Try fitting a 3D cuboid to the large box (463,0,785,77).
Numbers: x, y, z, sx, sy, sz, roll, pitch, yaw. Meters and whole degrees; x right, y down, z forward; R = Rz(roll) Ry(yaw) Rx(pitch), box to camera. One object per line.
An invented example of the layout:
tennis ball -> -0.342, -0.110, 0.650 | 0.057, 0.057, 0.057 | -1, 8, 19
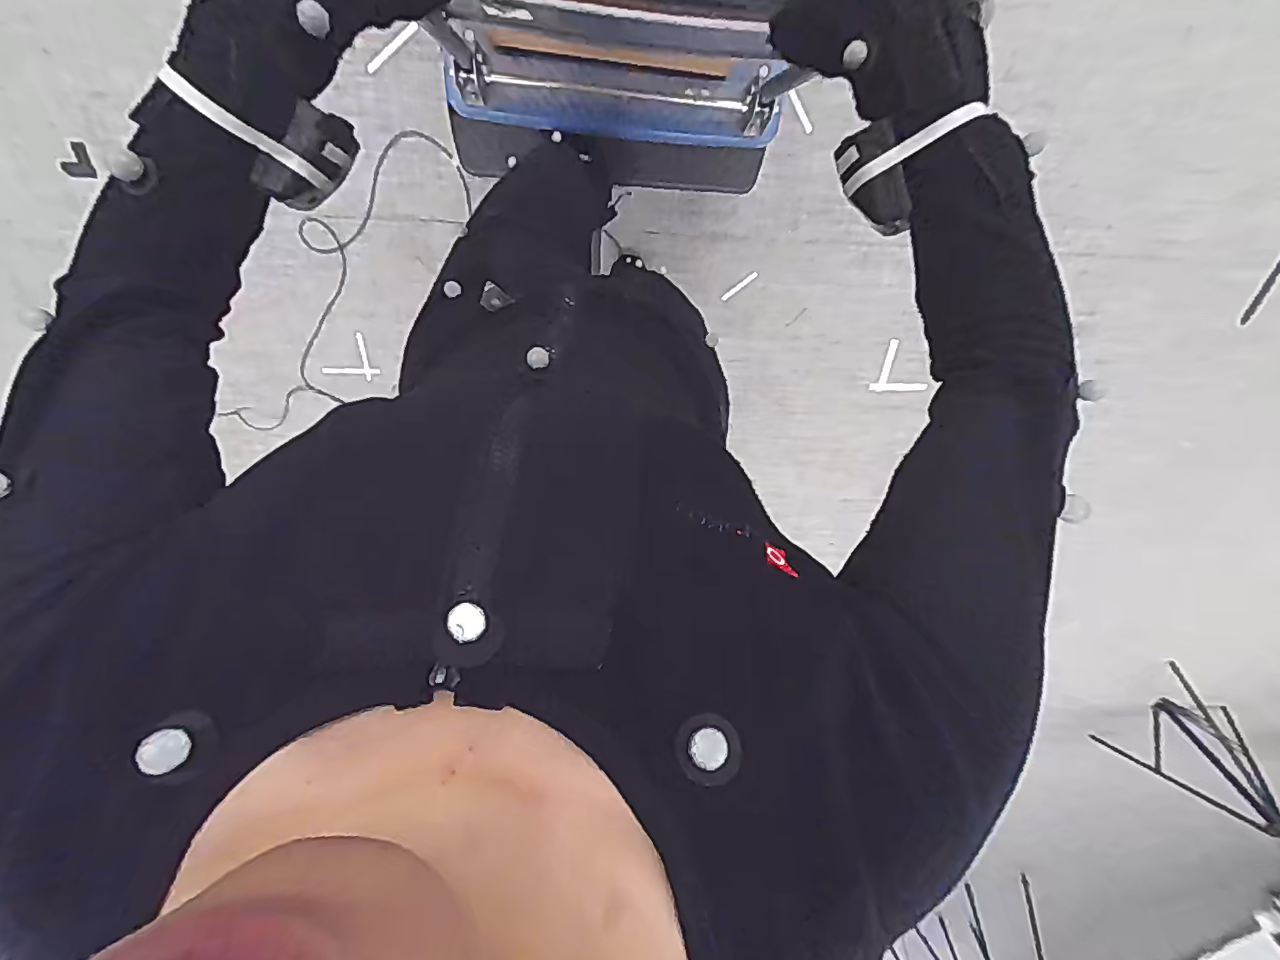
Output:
large box -> -0.029, -0.765, 0.700 | 0.408, 0.320, 0.320 | 2, 115, -7
